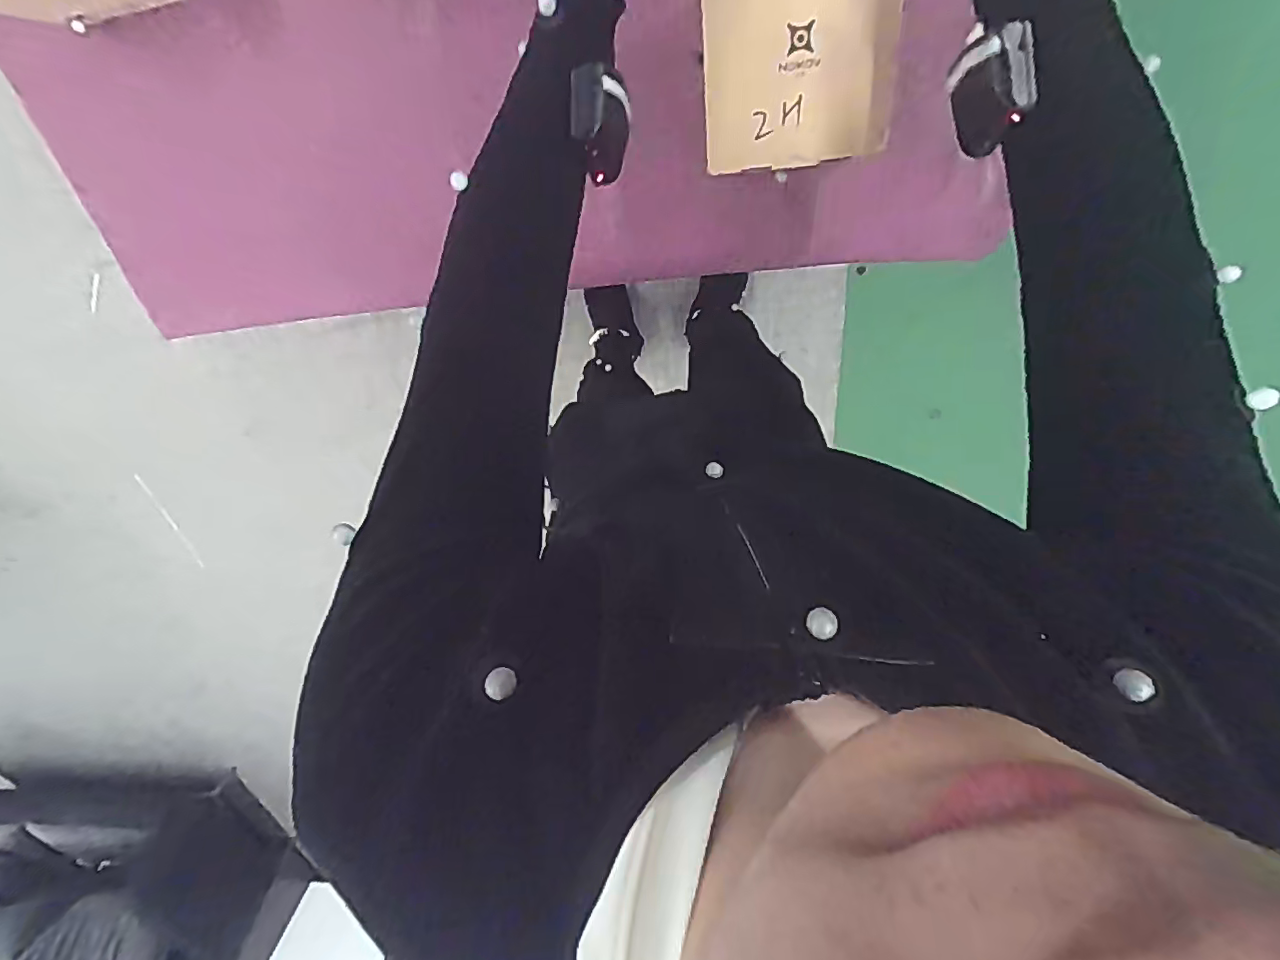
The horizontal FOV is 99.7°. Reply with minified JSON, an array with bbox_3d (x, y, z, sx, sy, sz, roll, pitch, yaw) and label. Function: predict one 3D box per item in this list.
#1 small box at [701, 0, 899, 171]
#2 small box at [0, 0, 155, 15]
[{"bbox_3d":[0.145,-0.413,0.537,0.168,0.176,0.179,-1,120,10],"label":"small box"},{"bbox_3d":[-0.631,-0.595,0.538,0.168,0.176,0.179,-3,121,10],"label":"small box"}]
